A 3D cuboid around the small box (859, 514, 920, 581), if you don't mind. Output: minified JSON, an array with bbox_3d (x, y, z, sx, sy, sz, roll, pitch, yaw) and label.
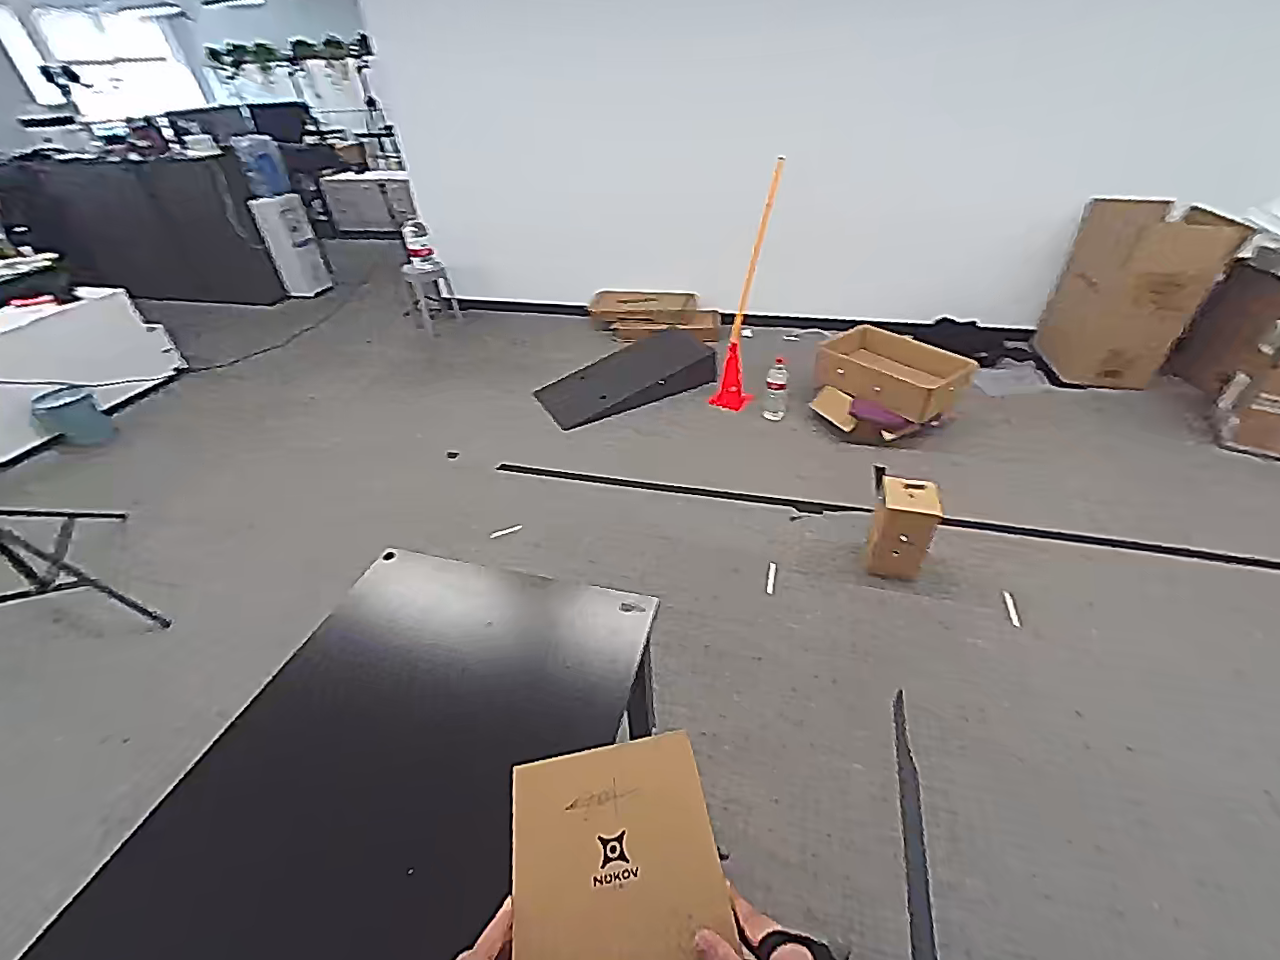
[{"bbox_3d":[0.912,0.250,1.993,0.179,0.176,0.168,8,40,13],"label":"small box"}]

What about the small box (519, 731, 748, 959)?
[{"bbox_3d":[-0.009,0.363,0.485,0.168,0.176,0.179,-9,39,-6],"label":"small box"}]

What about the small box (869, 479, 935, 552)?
[{"bbox_3d":[0.907,0.124,1.886,0.168,0.176,0.179,8,40,14],"label":"small box"}]
